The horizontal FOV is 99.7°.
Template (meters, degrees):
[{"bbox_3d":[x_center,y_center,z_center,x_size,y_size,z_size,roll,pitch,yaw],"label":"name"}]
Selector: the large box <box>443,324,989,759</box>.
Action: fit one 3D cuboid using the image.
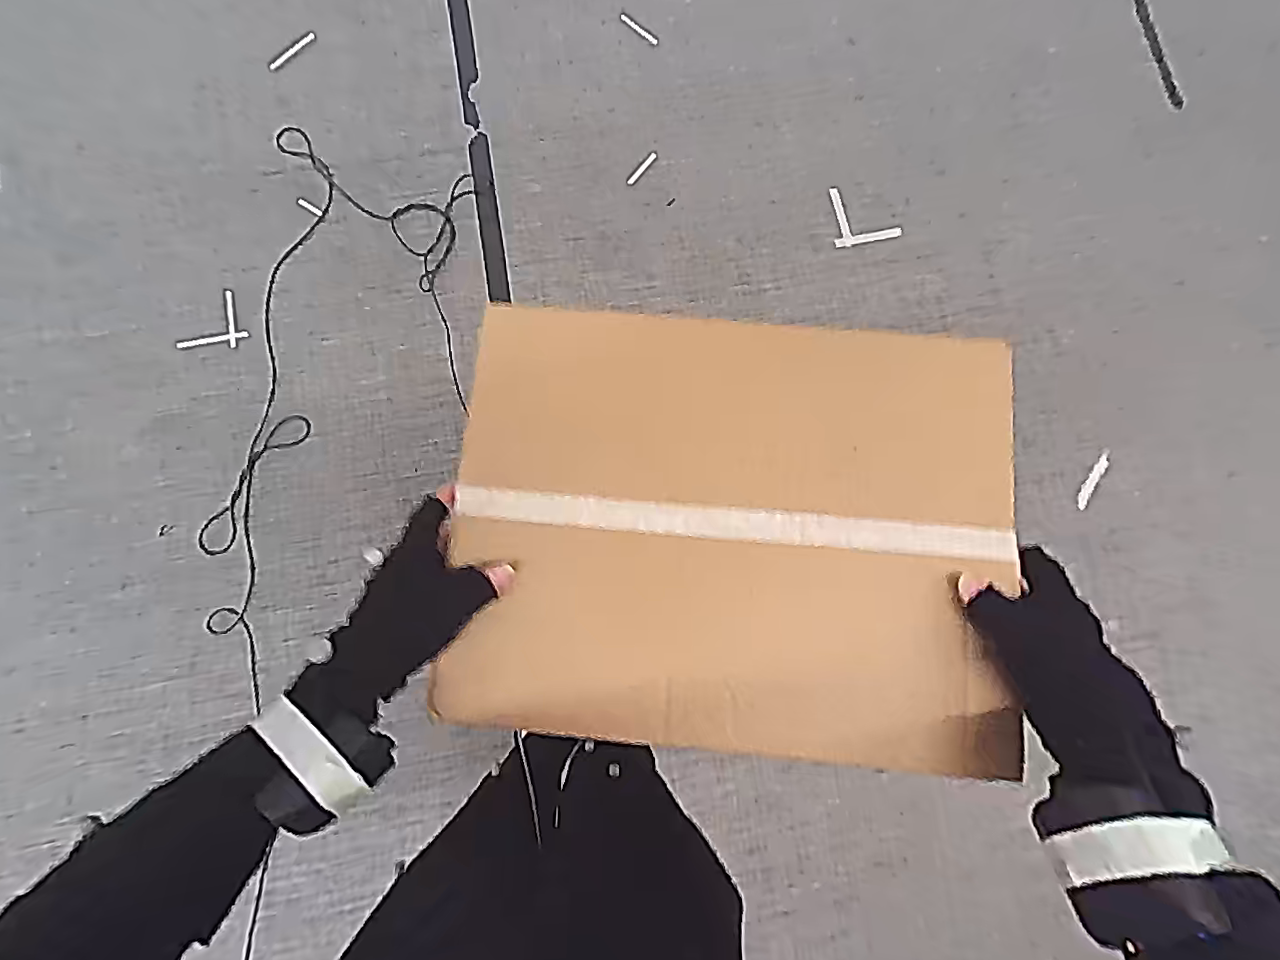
[{"bbox_3d":[0.068,0.060,0.562,0.408,0.320,0.320,5,79,2],"label":"large box"}]
